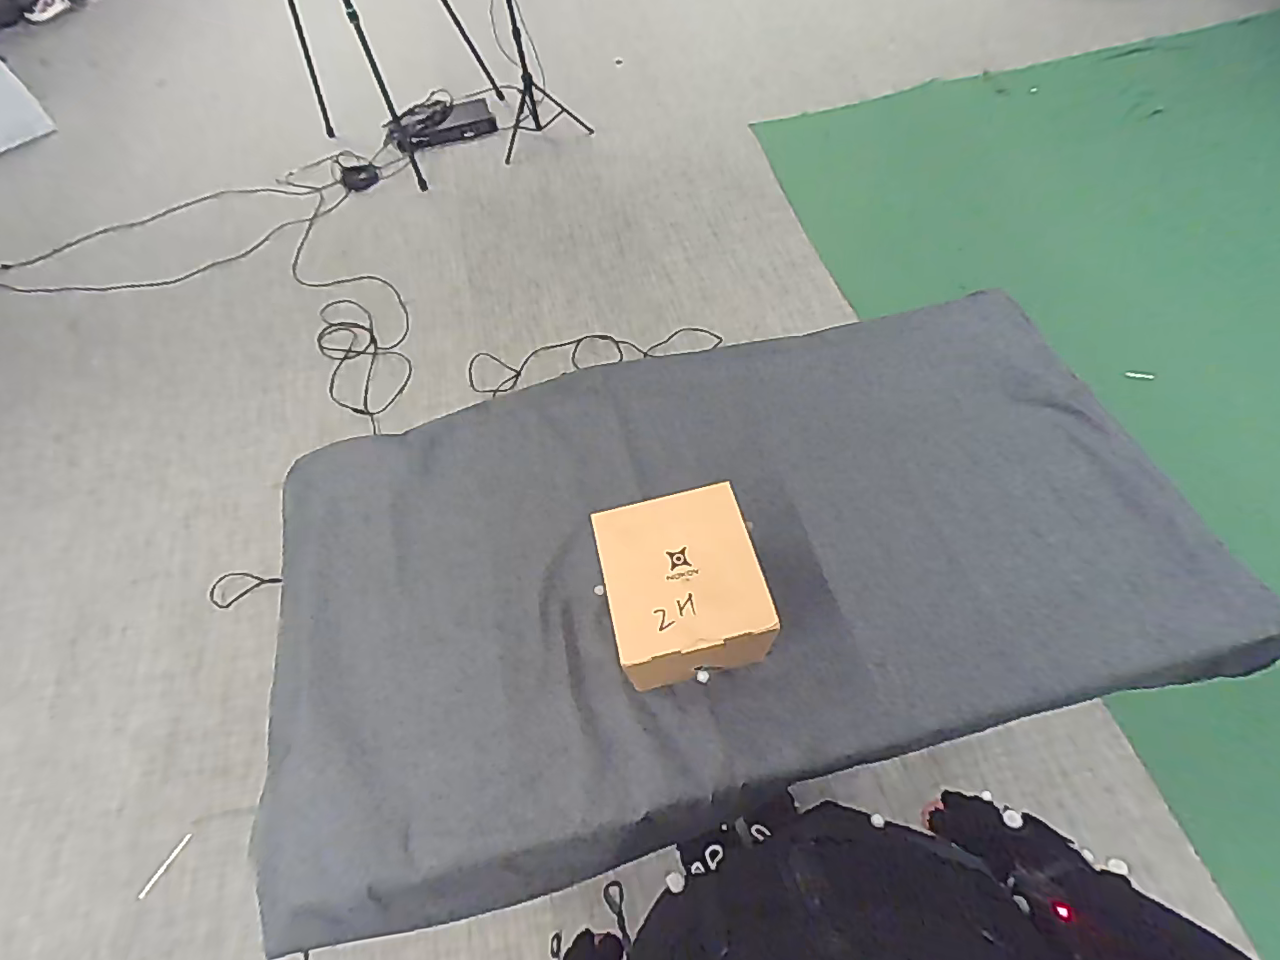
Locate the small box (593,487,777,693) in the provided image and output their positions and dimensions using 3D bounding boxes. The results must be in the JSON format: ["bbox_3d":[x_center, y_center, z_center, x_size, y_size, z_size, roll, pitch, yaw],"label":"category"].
[{"bbox_3d":[0.047,0.137,0.646,0.168,0.176,0.179,-14,61,-2],"label":"small box"}]
